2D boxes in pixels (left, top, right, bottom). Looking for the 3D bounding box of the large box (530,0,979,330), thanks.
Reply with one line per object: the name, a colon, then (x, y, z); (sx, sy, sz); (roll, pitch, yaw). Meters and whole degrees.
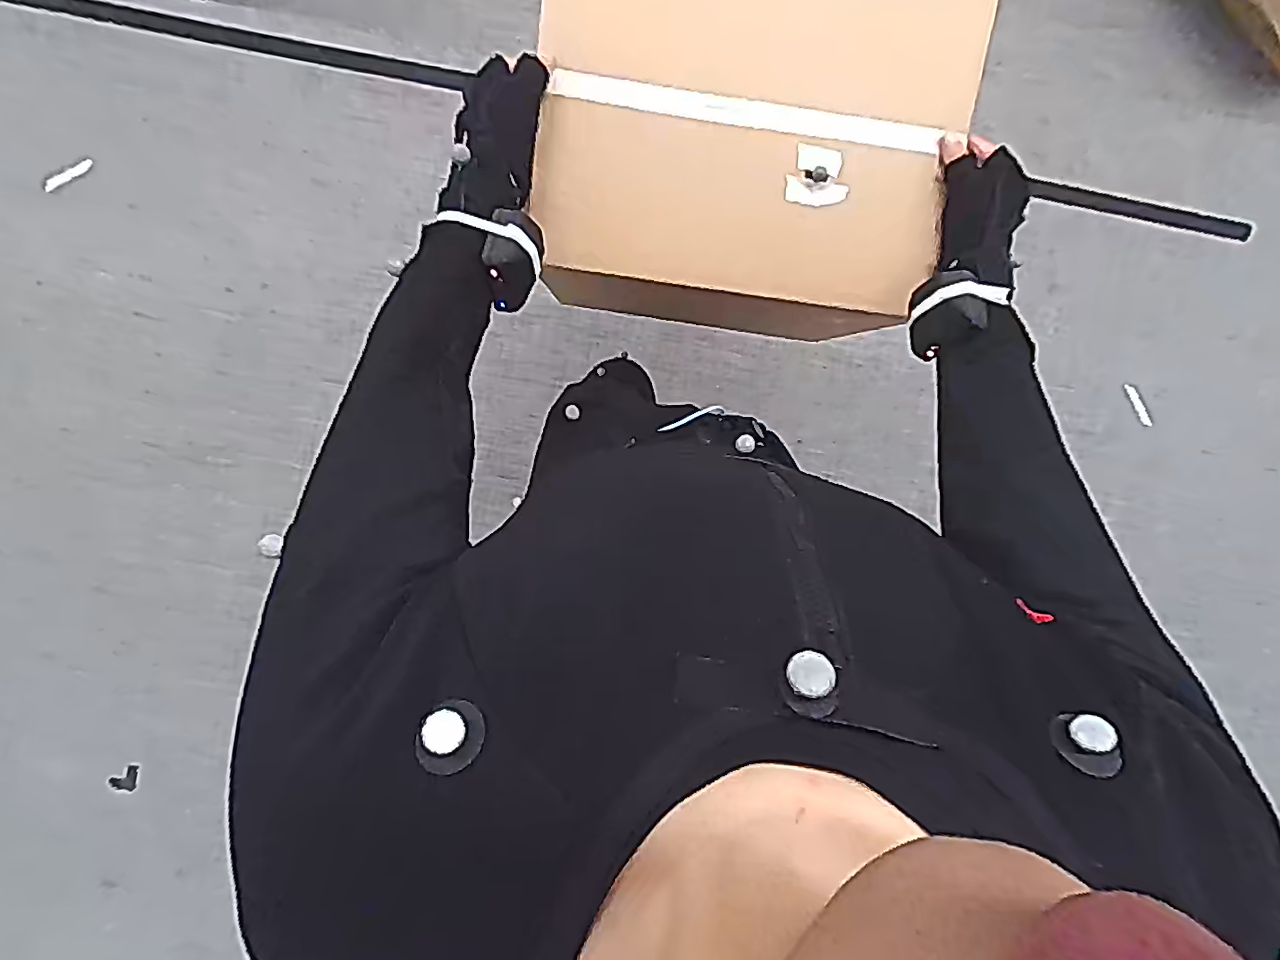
large box: (0.098, -0.376, 0.658); (0.408, 0.320, 0.320); (7, 101, -3)
